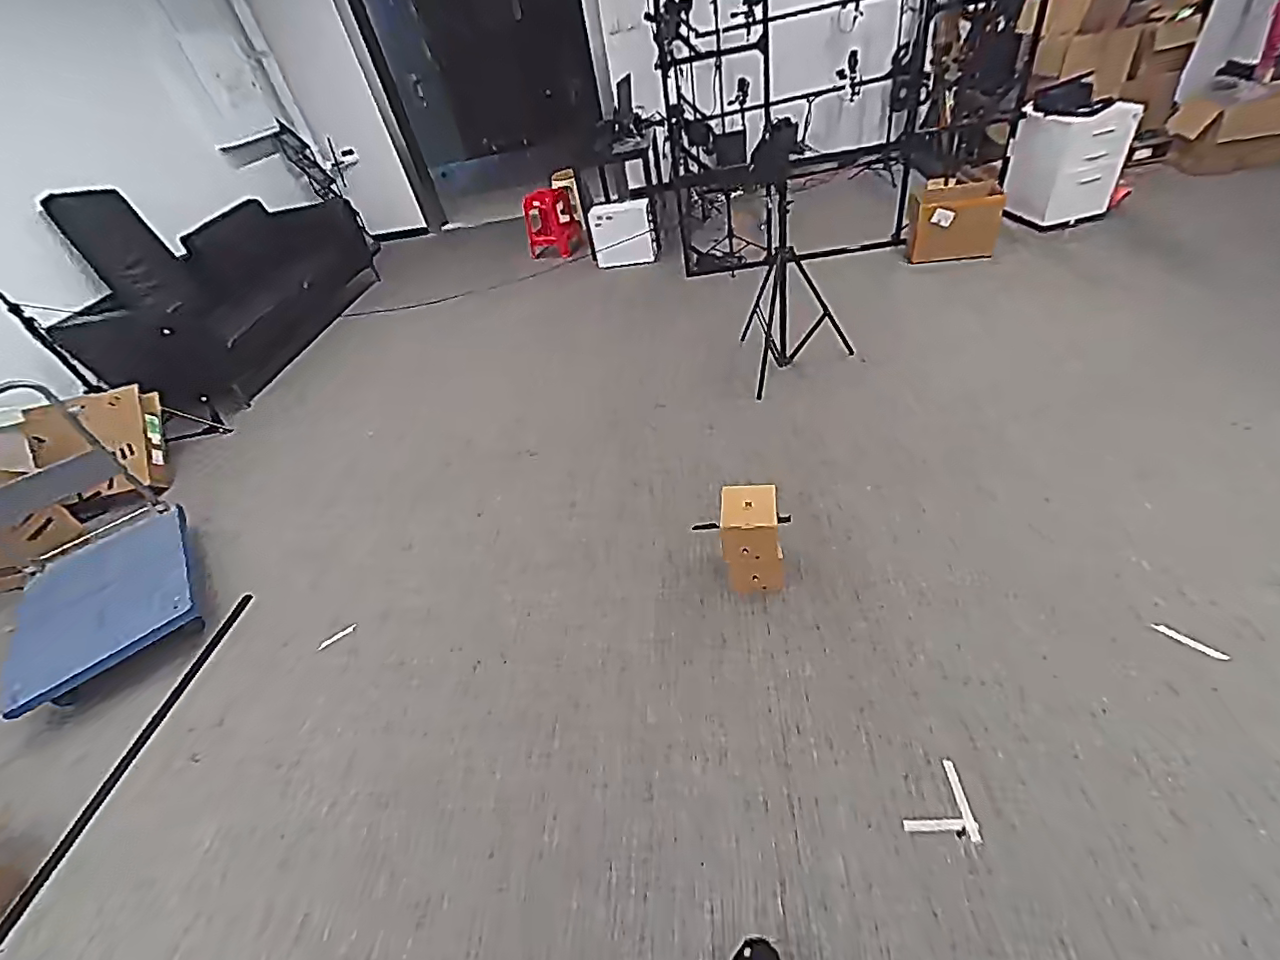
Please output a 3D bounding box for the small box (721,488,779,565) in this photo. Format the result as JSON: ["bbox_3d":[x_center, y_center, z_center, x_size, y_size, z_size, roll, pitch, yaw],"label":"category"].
[{"bbox_3d":[0.344,0.143,1.682,0.168,0.176,0.179,-2,42,13],"label":"small box"}]

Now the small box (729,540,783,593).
[{"bbox_3d":[0.379,0.260,1.789,0.168,0.176,0.179,-6,40,8],"label":"small box"}]
